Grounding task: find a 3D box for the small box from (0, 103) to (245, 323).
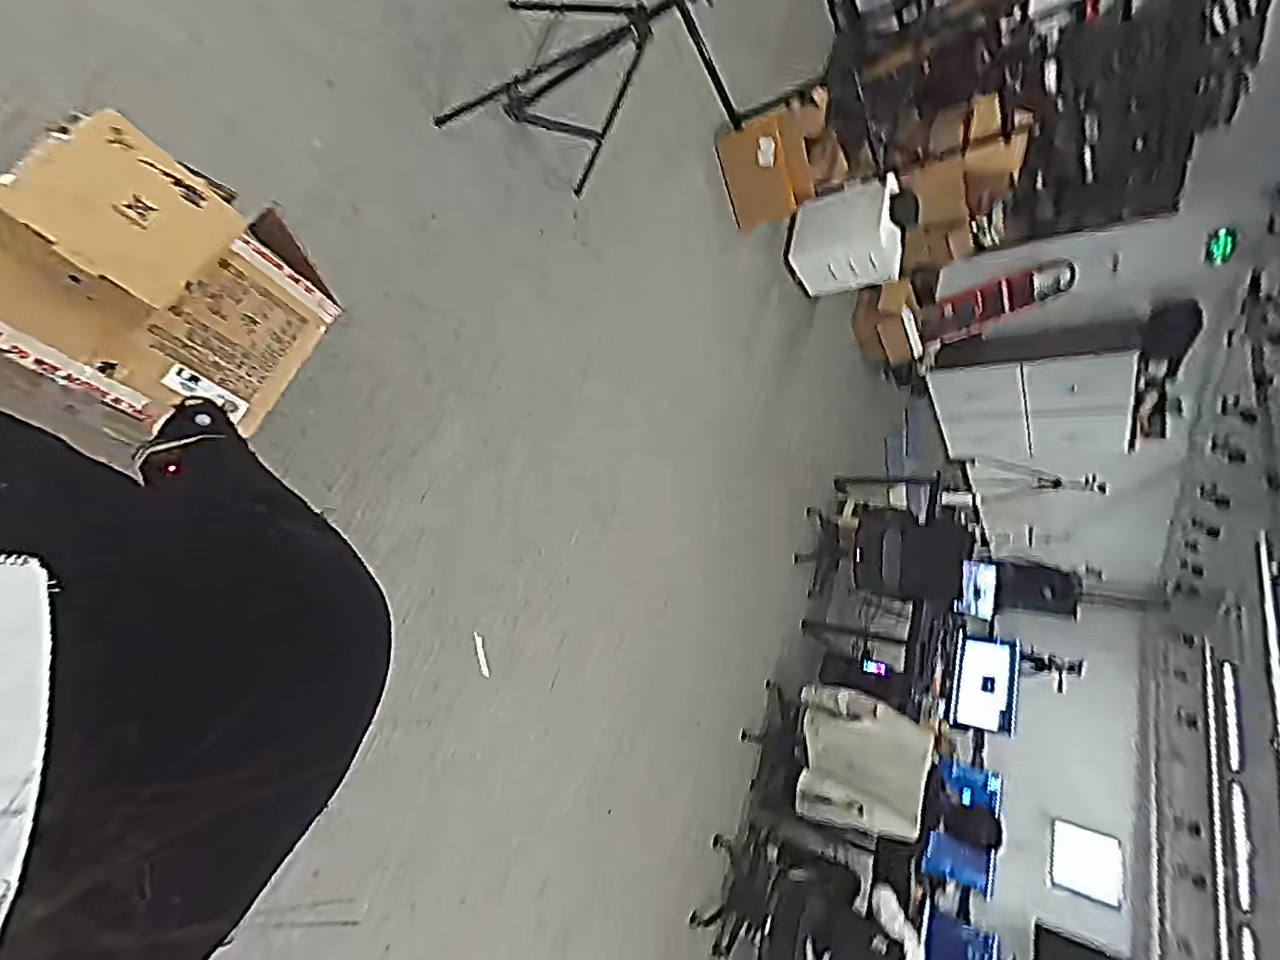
[{"bbox_3d":[-0.668,-0.328,0.702,0.168,0.176,0.179,45,60,-39],"label":"small box"}]
